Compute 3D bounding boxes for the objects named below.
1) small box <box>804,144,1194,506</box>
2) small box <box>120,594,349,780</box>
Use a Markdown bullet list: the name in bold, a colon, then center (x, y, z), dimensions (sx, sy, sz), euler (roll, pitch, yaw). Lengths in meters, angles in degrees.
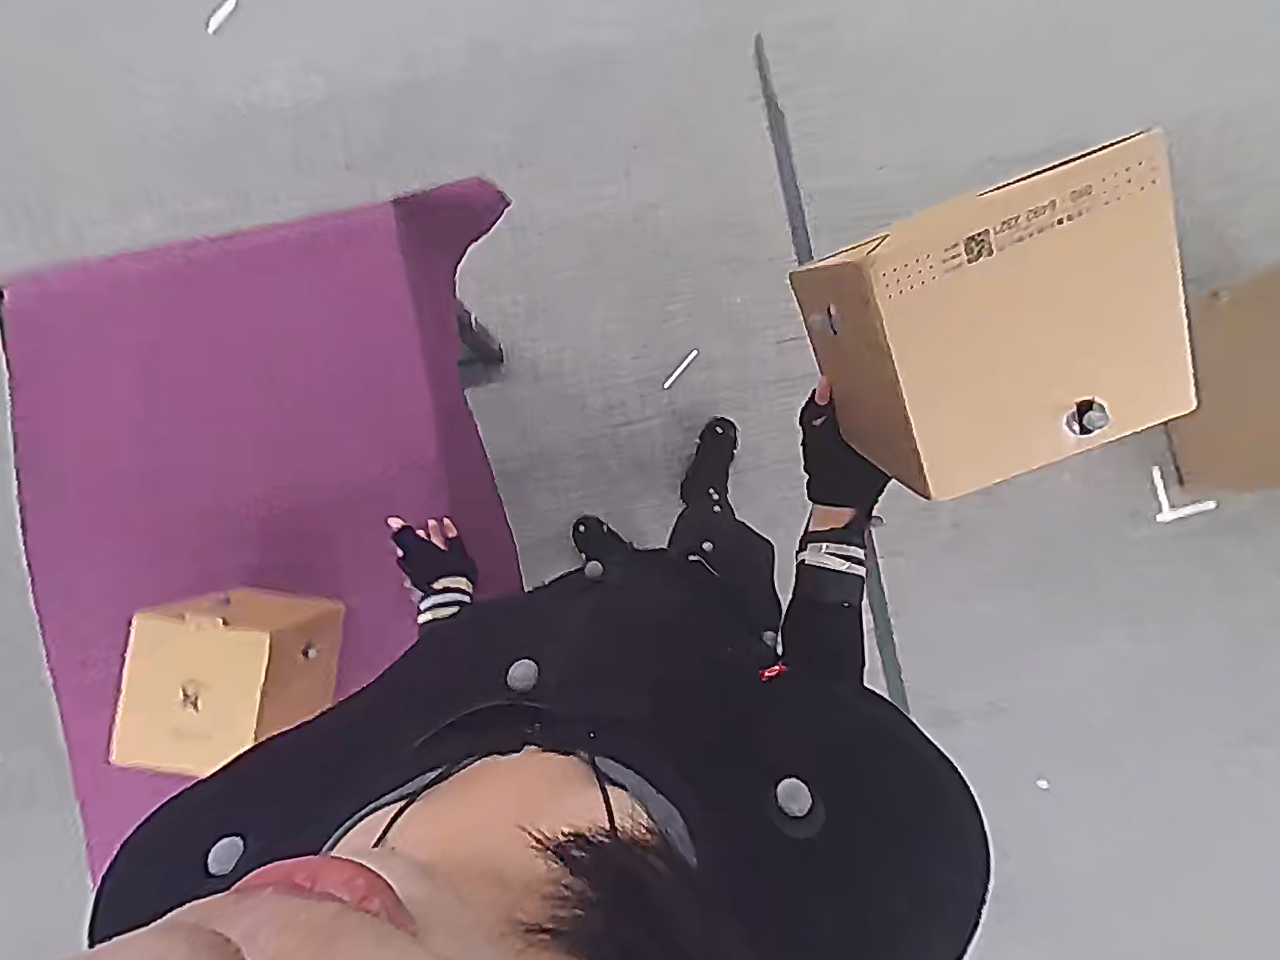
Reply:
- **small box**: center (0.235, -0.111, 0.393), dimensions (0.168, 0.179, 0.176), euler (-22, 107, 9)
- **small box**: center (-0.512, 0.254, 0.710), dimensions (0.168, 0.176, 0.179), euler (7, 89, 2)
